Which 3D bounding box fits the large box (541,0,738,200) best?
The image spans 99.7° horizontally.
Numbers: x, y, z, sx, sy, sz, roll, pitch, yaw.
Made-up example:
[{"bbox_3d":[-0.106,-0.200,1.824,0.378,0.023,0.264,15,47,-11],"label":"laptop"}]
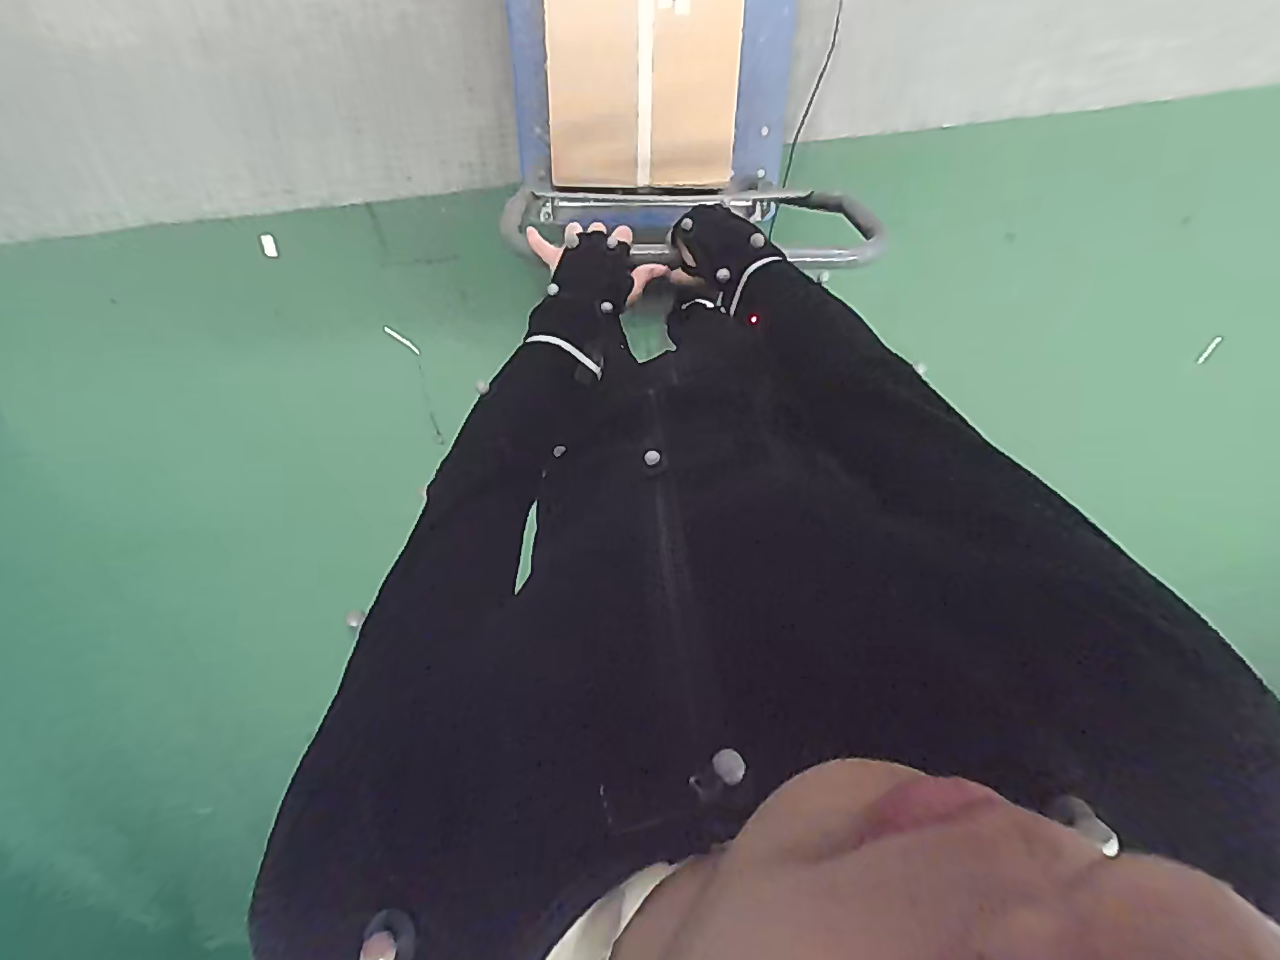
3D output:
[{"bbox_3d":[-0.006,-0.754,1.003,0.320,0.320,0.408,-2,115,-4],"label":"large box"}]
